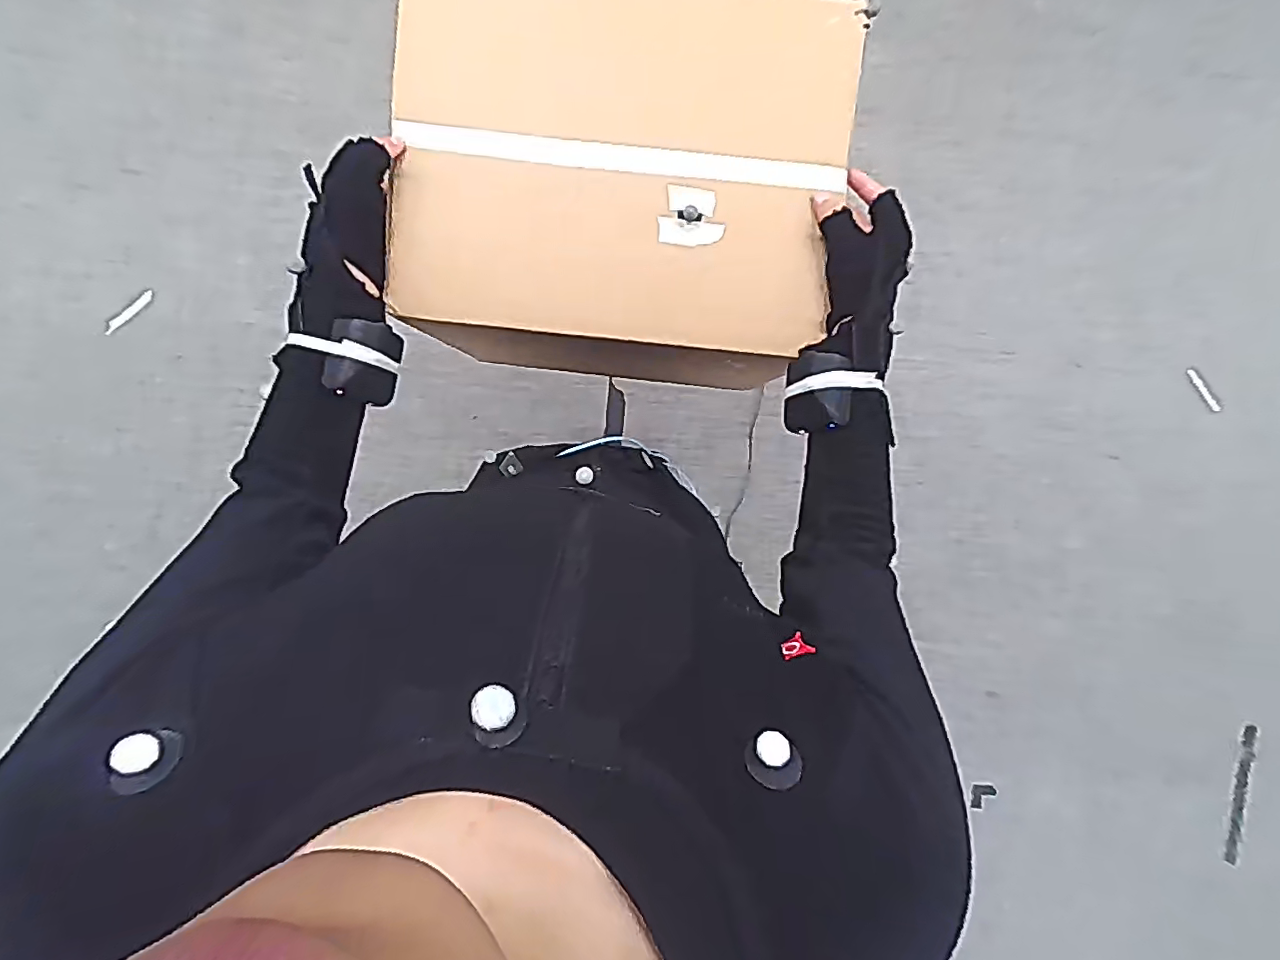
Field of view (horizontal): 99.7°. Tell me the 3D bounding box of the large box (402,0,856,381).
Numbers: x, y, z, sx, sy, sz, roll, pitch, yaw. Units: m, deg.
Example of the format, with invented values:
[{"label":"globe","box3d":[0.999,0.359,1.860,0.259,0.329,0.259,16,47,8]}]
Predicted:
[{"label":"large box","box3d":[-0.018,-0.303,0.645,0.408,0.320,0.320,6,95,-2]}]
